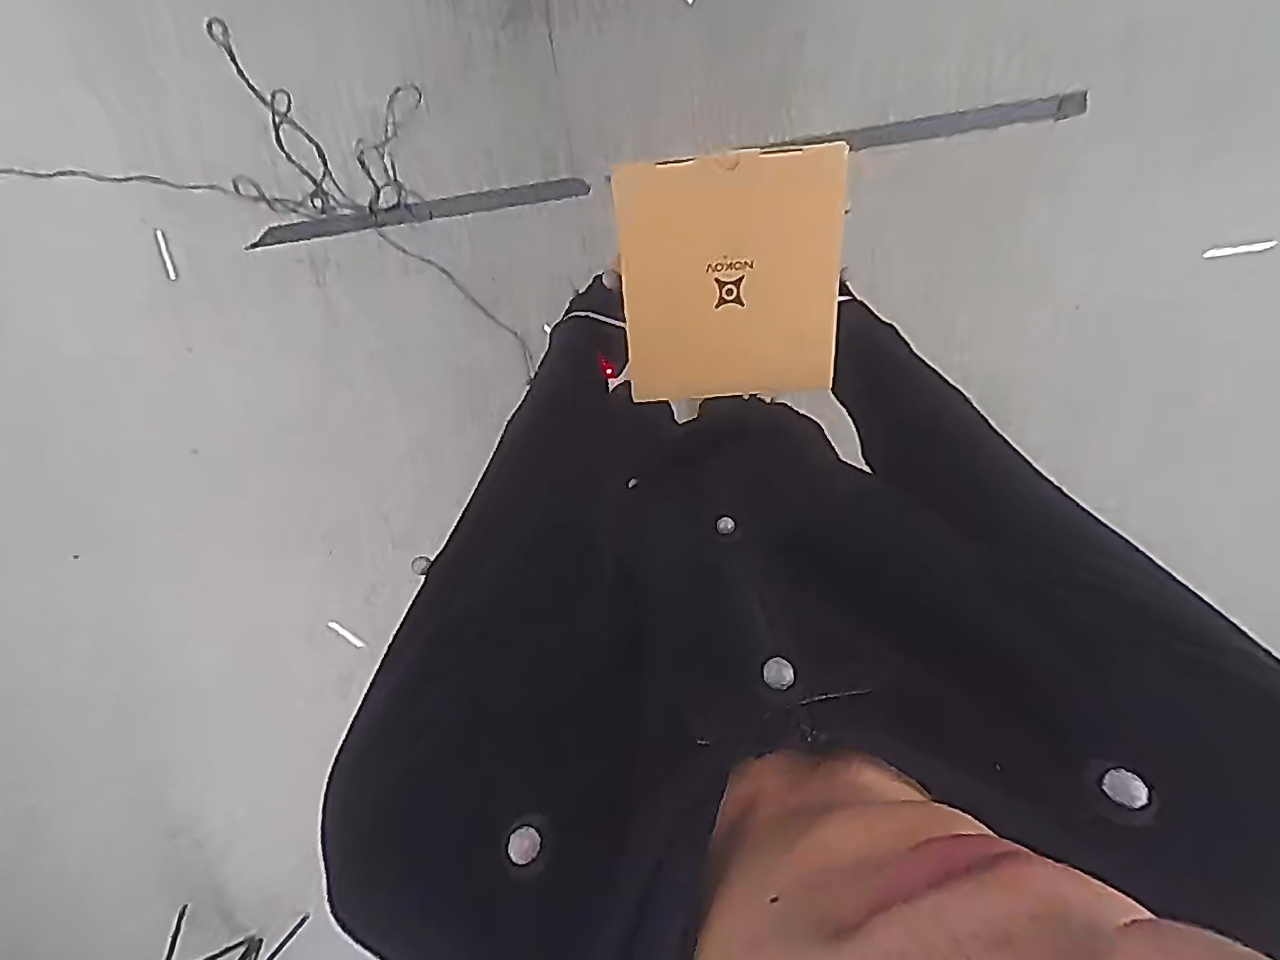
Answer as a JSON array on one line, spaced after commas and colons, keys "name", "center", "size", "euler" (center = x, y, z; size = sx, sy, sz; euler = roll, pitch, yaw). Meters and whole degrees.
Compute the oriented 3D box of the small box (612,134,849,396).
[{"name": "small box", "center": [0.071, -0.185, 0.478], "size": [0.168, 0.176, 0.179], "euler": [-4, 114, 4]}]
